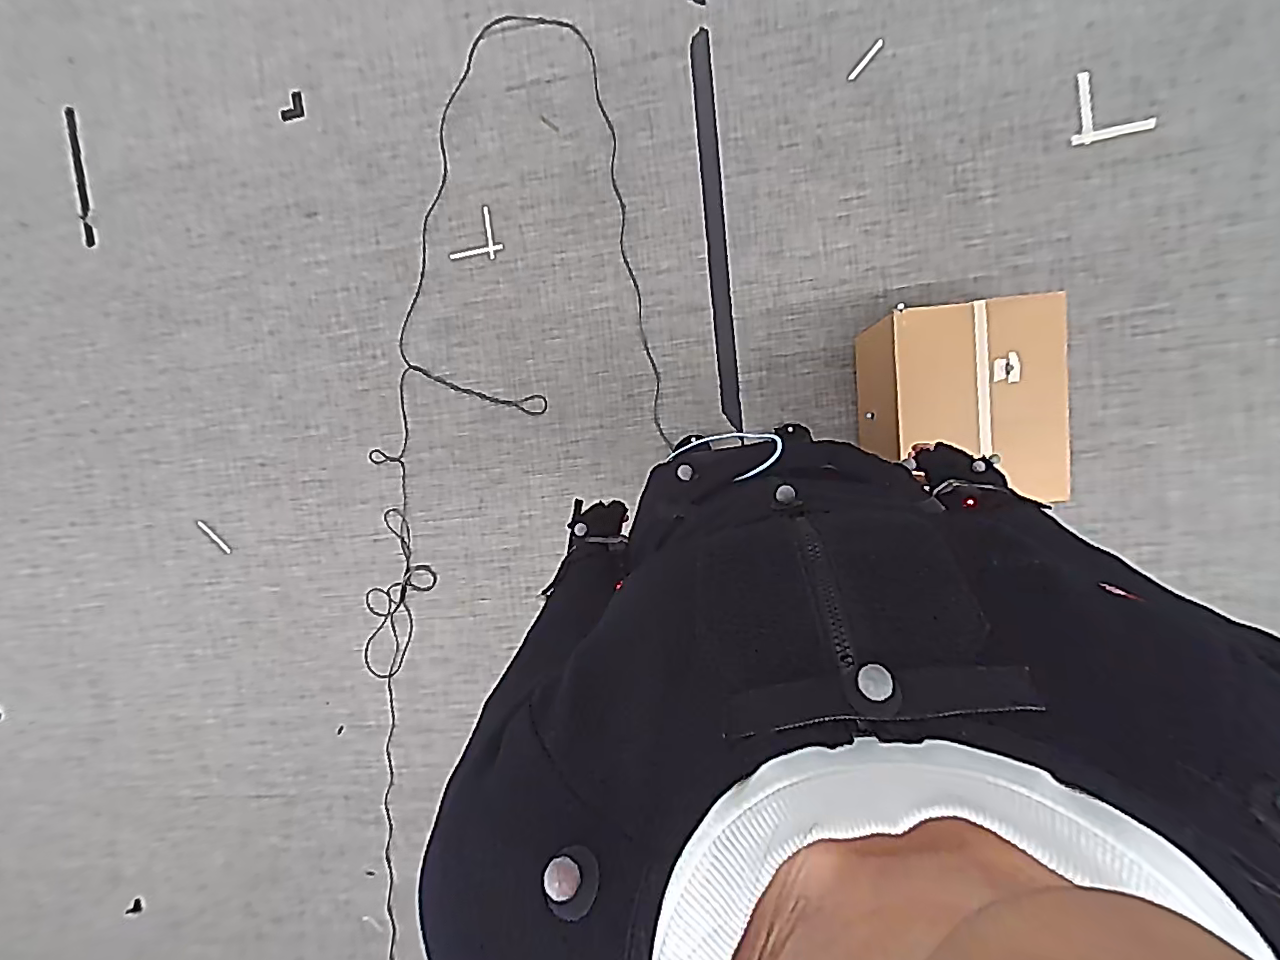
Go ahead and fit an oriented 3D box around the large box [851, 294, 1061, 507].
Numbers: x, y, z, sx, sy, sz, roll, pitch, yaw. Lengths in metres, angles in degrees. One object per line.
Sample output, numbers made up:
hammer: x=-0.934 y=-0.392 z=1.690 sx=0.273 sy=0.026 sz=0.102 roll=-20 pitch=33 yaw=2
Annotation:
large box: x=0.686 y=-0.163 z=1.229 sx=0.320 sy=0.320 sz=0.408 roll=-5 pitch=93 yaw=7
